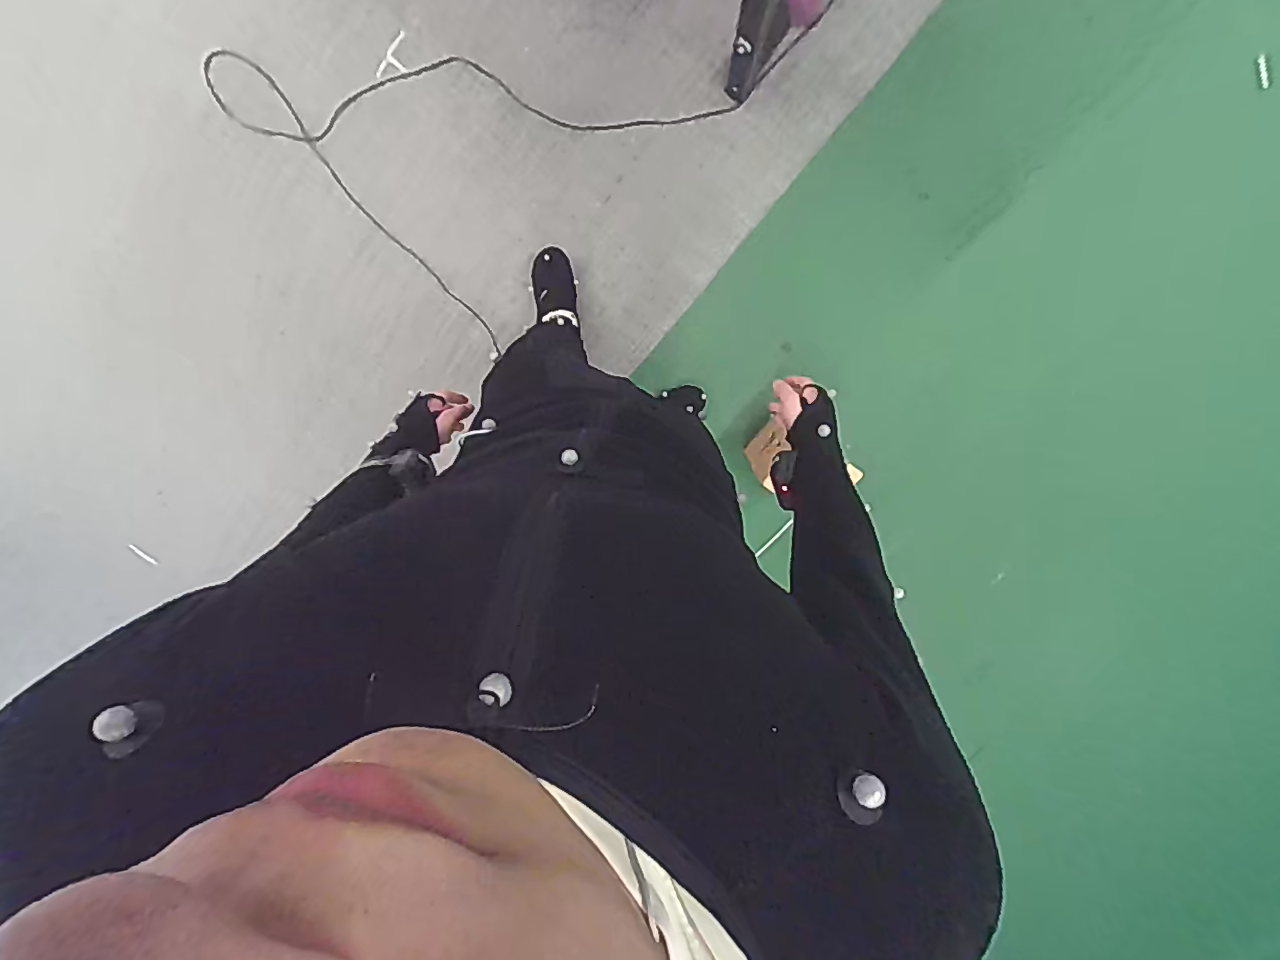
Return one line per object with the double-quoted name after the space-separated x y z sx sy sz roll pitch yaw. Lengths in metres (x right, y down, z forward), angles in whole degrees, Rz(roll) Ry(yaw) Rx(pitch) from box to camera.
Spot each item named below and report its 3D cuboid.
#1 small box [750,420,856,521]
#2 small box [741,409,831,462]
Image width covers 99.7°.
0.401 -0.032 1.358 0.179 0.176 0.168 36 105 -7 "small box"
0.405 -0.084 1.512 0.179 0.176 0.168 37 104 -8 "small box"
